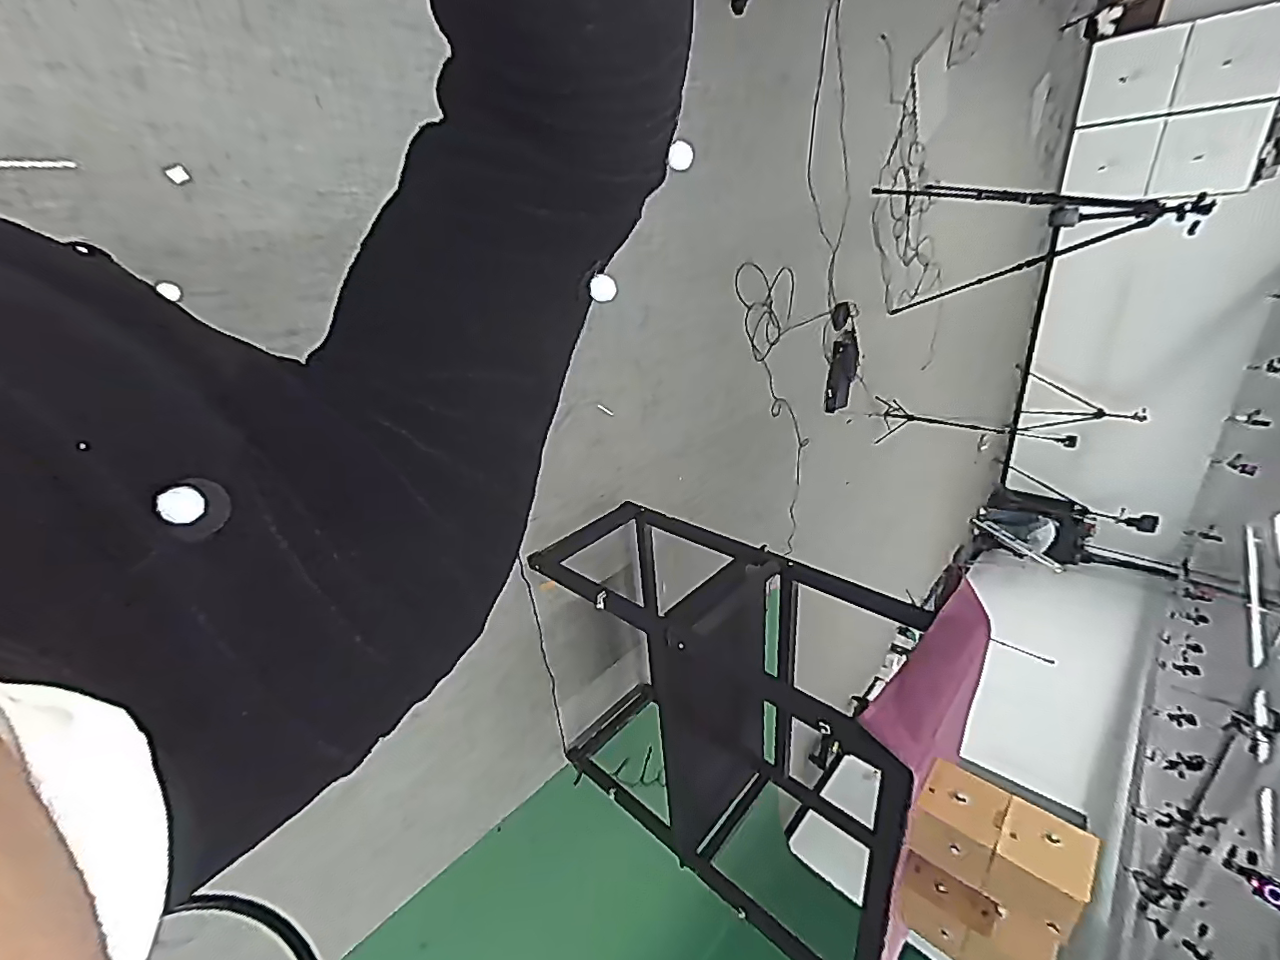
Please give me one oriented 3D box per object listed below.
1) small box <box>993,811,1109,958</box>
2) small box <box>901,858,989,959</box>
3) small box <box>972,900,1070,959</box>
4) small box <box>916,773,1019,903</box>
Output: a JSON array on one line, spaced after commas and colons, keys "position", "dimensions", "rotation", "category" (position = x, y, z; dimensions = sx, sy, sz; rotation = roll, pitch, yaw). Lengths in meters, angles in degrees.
[{"position": [0.909, 0.885, 1.205], "dimensions": [0.168, 0.176, 0.179], "rotation": [-30, 126, -38], "category": "small box"}, {"position": [0.815, 1.137, 1.441], "dimensions": [0.168, 0.176, 0.179], "rotation": [-28, 123, -39], "category": "small box"}, {"position": [0.933, 1.174, 1.334], "dimensions": [0.168, 0.176, 0.179], "rotation": [-29, 122, -38], "category": "small box"}, {"position": [0.788, 0.850, 1.310], "dimensions": [0.168, 0.176, 0.179], "rotation": [-29, 123, -38], "category": "small box"}]
